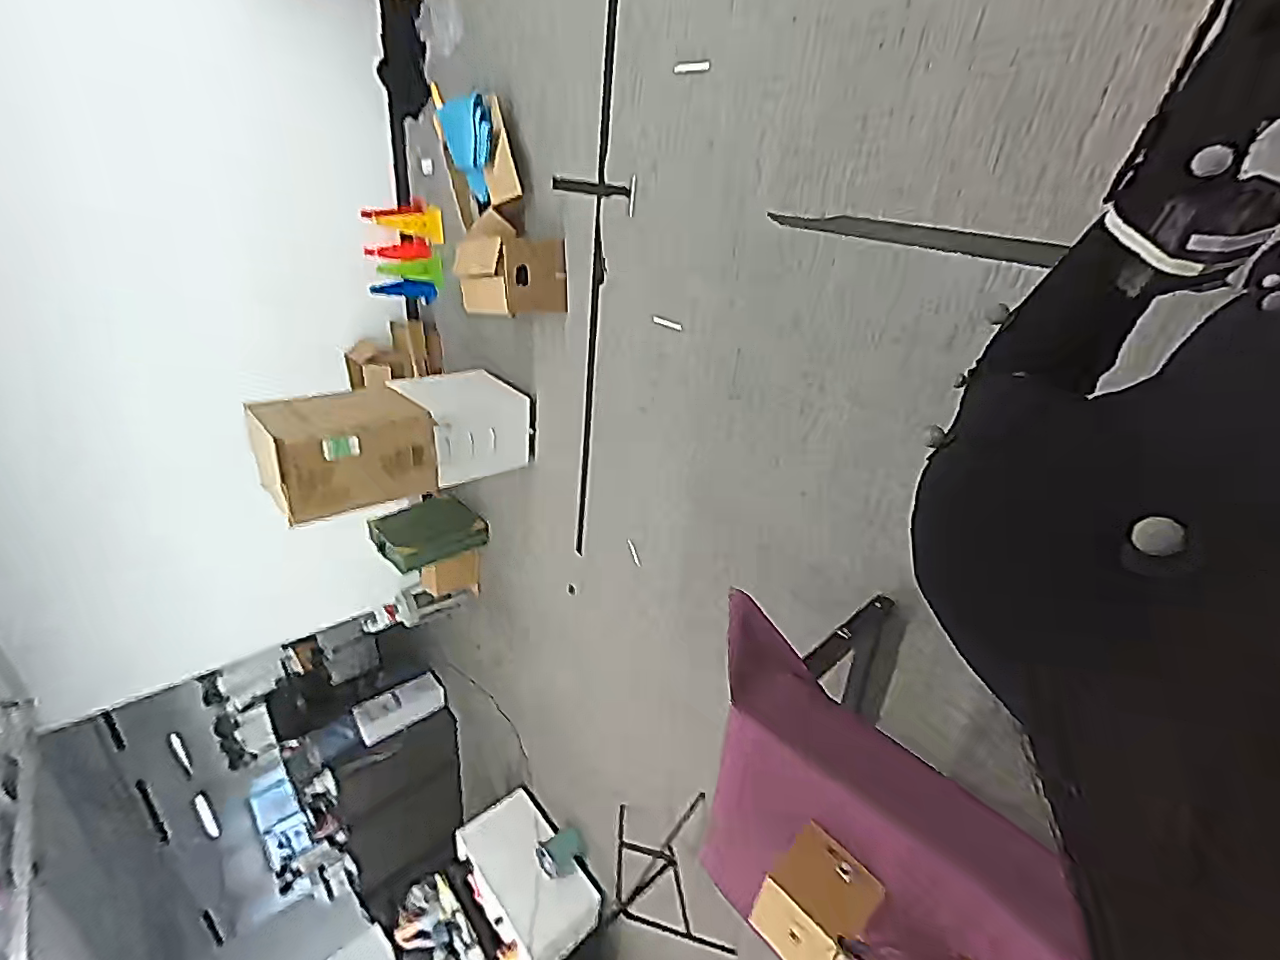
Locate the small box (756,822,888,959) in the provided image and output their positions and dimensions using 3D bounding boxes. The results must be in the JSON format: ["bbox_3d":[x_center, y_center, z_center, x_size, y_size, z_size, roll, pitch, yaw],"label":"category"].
[{"bbox_3d":[0.354,0.825,1.053,0.168,0.176,0.179,29,124,38],"label":"small box"}]
